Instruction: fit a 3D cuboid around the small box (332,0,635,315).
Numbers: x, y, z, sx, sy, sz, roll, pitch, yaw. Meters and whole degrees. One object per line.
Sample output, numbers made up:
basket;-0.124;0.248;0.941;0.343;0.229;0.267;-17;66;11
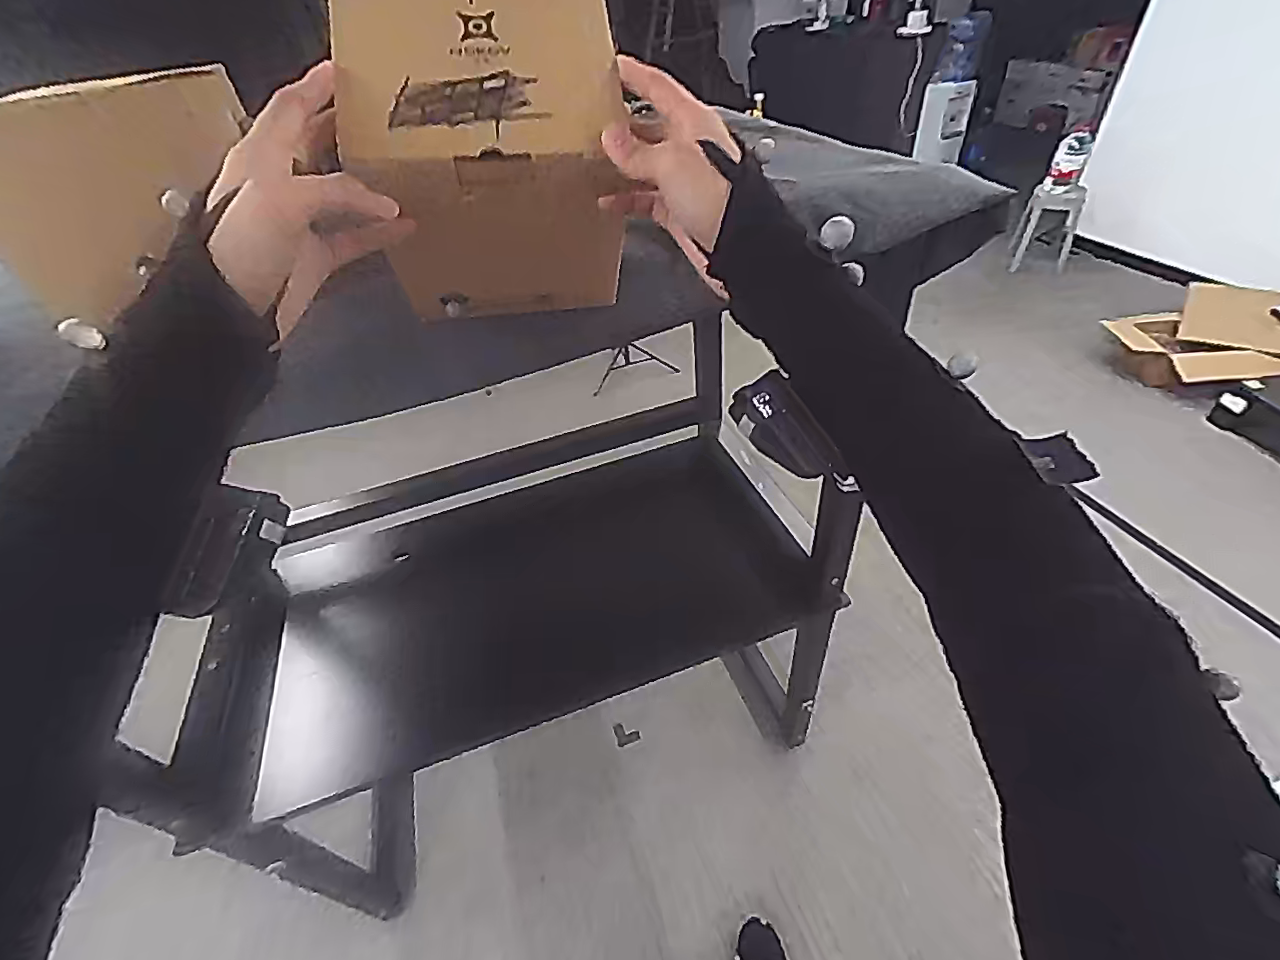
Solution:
small box;-0.103;-0.237;0.396;0.168;0.176;0.179;-8;75;-9

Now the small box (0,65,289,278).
small box;-0.531;-0.342;0.609;0.168;0.176;0.179;-15;44;-9
